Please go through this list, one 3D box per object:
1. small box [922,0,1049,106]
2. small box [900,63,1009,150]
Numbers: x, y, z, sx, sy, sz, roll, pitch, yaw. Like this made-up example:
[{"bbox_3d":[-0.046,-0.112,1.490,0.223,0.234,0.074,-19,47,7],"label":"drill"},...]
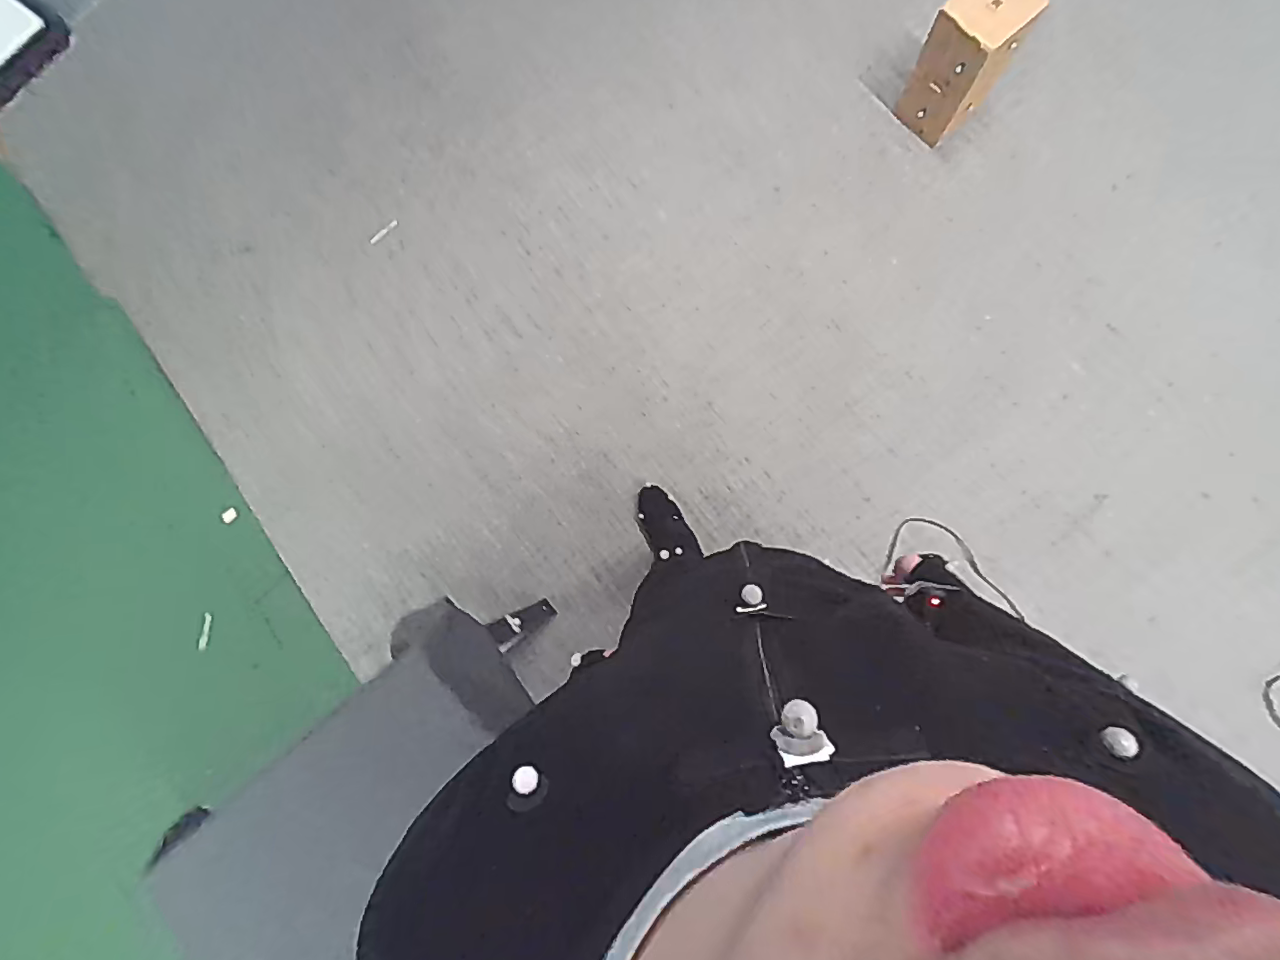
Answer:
[{"bbox_3d":[0.824,-1.073,1.318,0.179,0.176,0.168,-40,82,1],"label":"small box"},{"bbox_3d":[0.843,-1.059,1.479,0.179,0.176,0.168,-41,81,3],"label":"small box"}]
